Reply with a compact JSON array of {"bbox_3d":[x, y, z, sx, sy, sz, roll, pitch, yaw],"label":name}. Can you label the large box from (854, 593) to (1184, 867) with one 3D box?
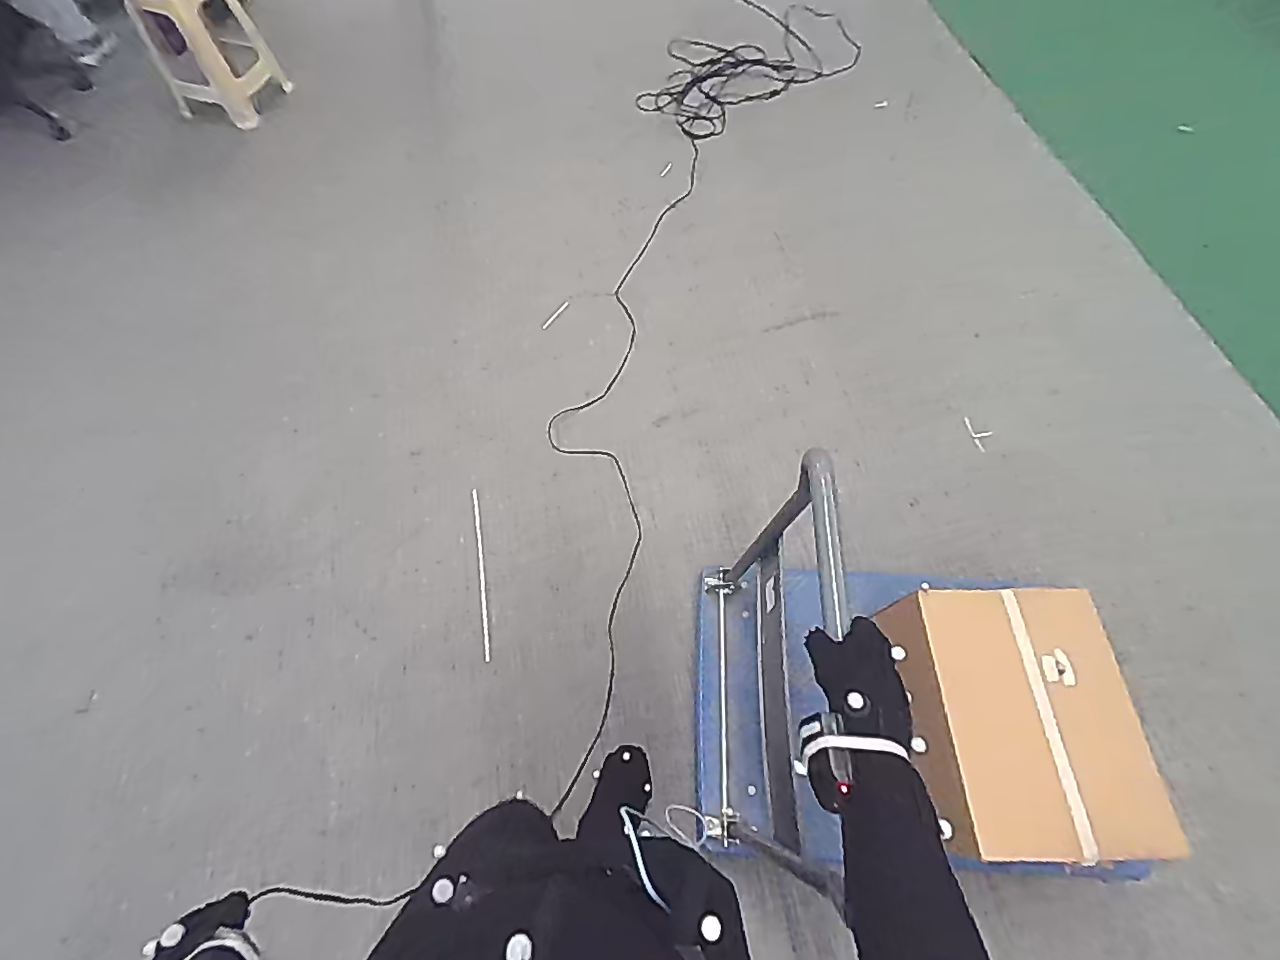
[{"bbox_3d":[0.635,0.450,1.004,0.320,0.320,0.408,0,62,-2],"label":"large box"}]
